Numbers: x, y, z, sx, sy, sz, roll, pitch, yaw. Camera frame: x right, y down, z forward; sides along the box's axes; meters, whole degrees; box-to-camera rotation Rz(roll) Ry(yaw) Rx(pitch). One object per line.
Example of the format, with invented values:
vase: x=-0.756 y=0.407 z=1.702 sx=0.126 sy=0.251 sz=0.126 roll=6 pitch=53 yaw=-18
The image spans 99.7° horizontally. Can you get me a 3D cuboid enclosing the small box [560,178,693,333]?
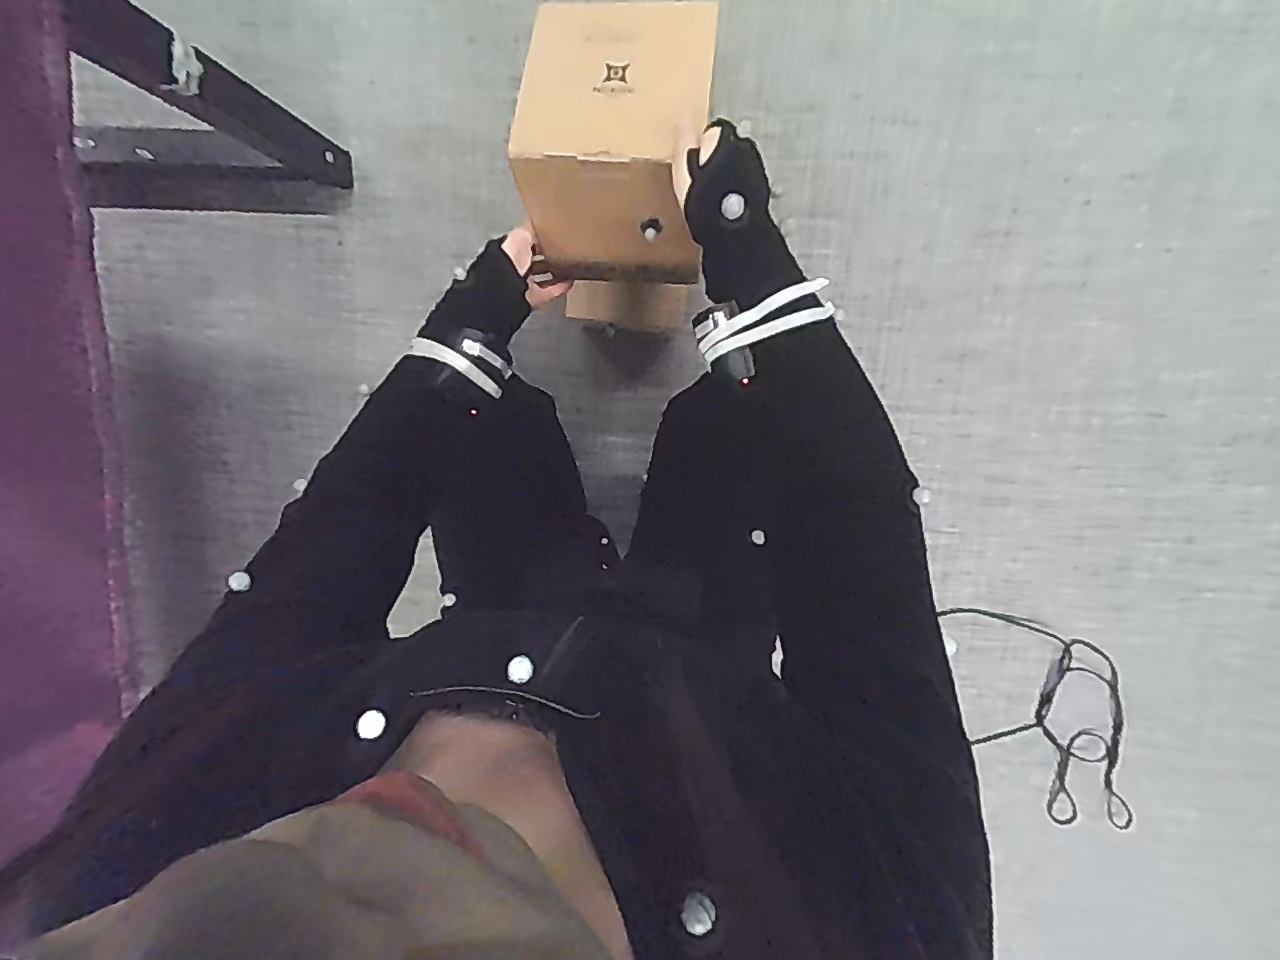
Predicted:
small box: x=-0.019 y=-0.322 z=0.813 sx=0.168 sy=0.176 sz=0.179 roll=7 pitch=100 yaw=-1
